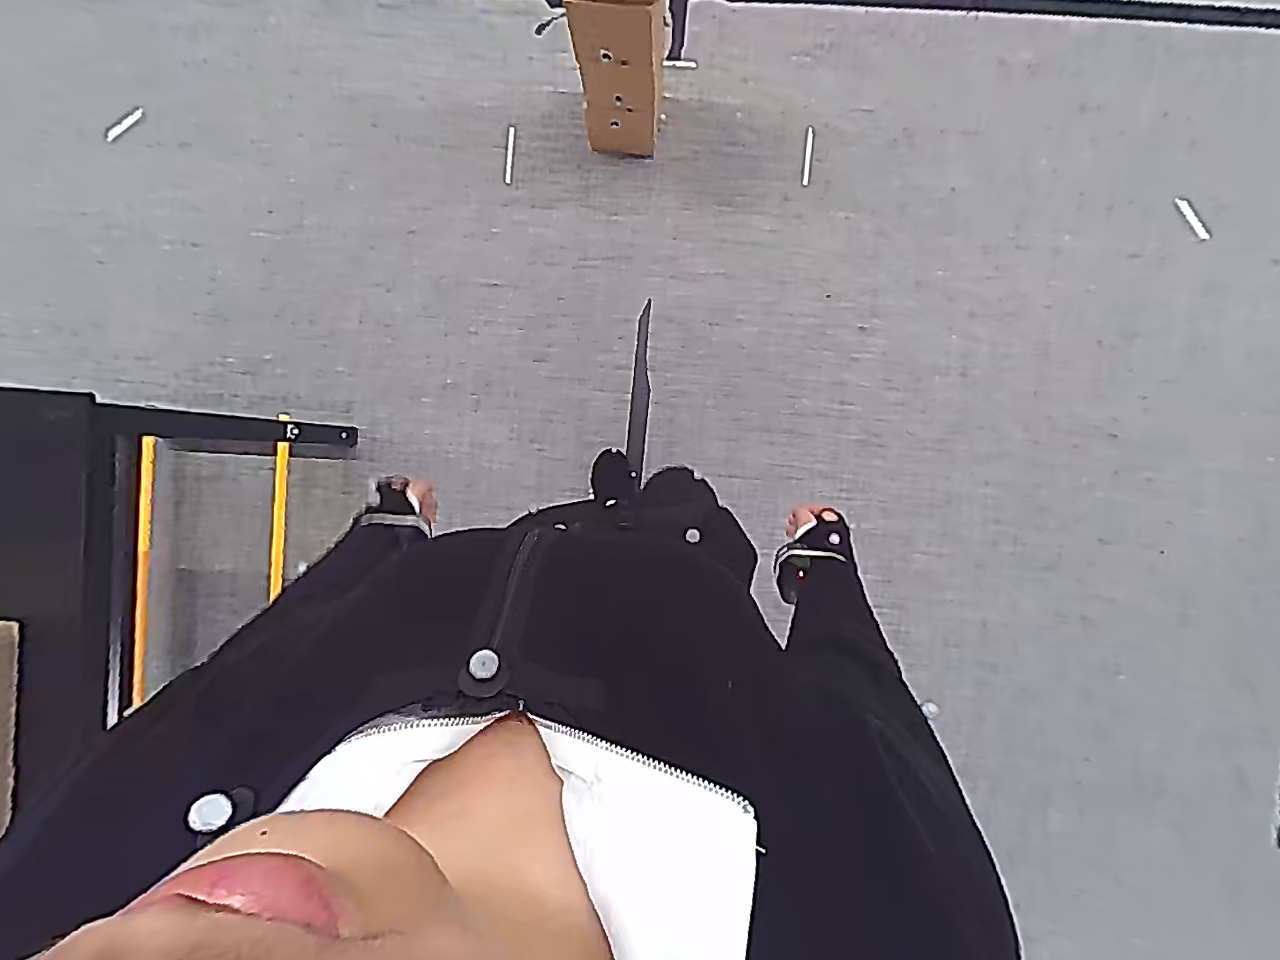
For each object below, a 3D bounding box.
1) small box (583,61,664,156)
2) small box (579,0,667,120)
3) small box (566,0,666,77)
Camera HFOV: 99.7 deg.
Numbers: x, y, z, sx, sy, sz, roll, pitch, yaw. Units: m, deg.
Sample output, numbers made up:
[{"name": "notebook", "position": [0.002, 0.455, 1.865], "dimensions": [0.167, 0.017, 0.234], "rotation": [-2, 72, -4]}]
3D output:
[{"name": "small box", "position": [-0.038, -0.954, 1.369], "dimensions": [0.179, 0.176, 0.168], "rotation": [8, 93, 1]}, {"name": "small box", "position": [-0.035, -0.952, 1.204], "dimensions": [0.168, 0.176, 0.179], "rotation": [8, 93, 2]}, {"name": "small box", "position": [-0.040, -0.931, 1.042], "dimensions": [0.168, 0.176, 0.179], "rotation": [8, 94, 2]}]
